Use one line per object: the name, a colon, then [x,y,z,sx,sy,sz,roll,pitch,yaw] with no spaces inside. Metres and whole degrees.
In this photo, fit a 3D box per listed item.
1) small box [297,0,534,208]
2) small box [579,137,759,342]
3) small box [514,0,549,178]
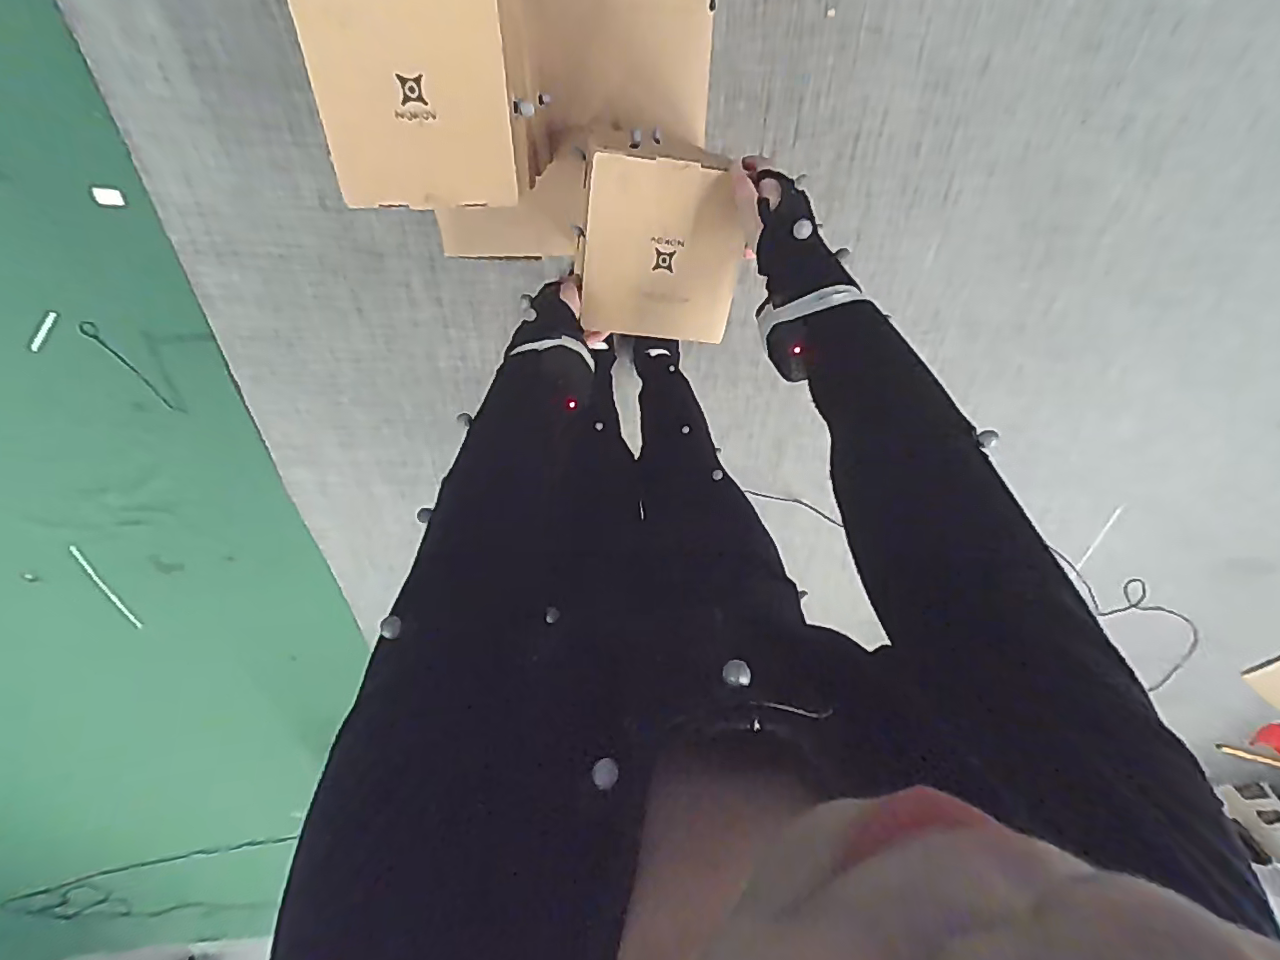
small box: [-0.200,-0.380,0.535,0.168,0.176,0.179,-2,126,-4]
small box: [0.018,-0.281,0.625,0.168,0.176,0.179,5,126,-8]
small box: [-0.208,-0.475,0.668,0.179,0.176,0.168,-3,125,-3]
